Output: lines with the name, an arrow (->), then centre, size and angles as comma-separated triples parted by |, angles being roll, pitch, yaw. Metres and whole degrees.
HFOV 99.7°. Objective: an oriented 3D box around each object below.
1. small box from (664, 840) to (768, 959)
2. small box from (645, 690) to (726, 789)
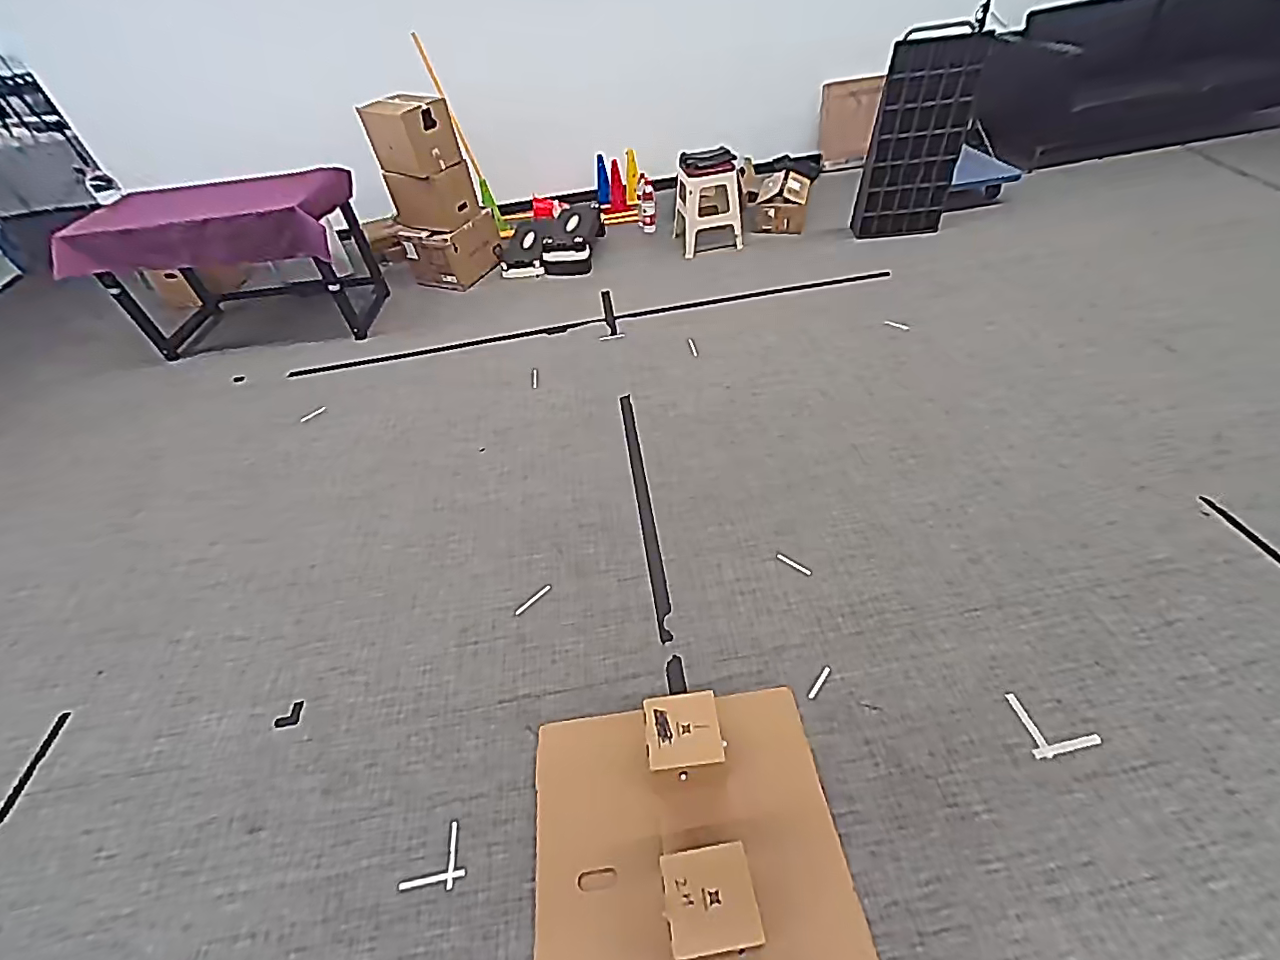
small box -> 0.152, 0.867, 1.114 | 0.179, 0.176, 0.168 | -11, 45, 0
small box -> 0.115, 0.647, 1.340 | 0.179, 0.176, 0.168 | -8, 45, 1
